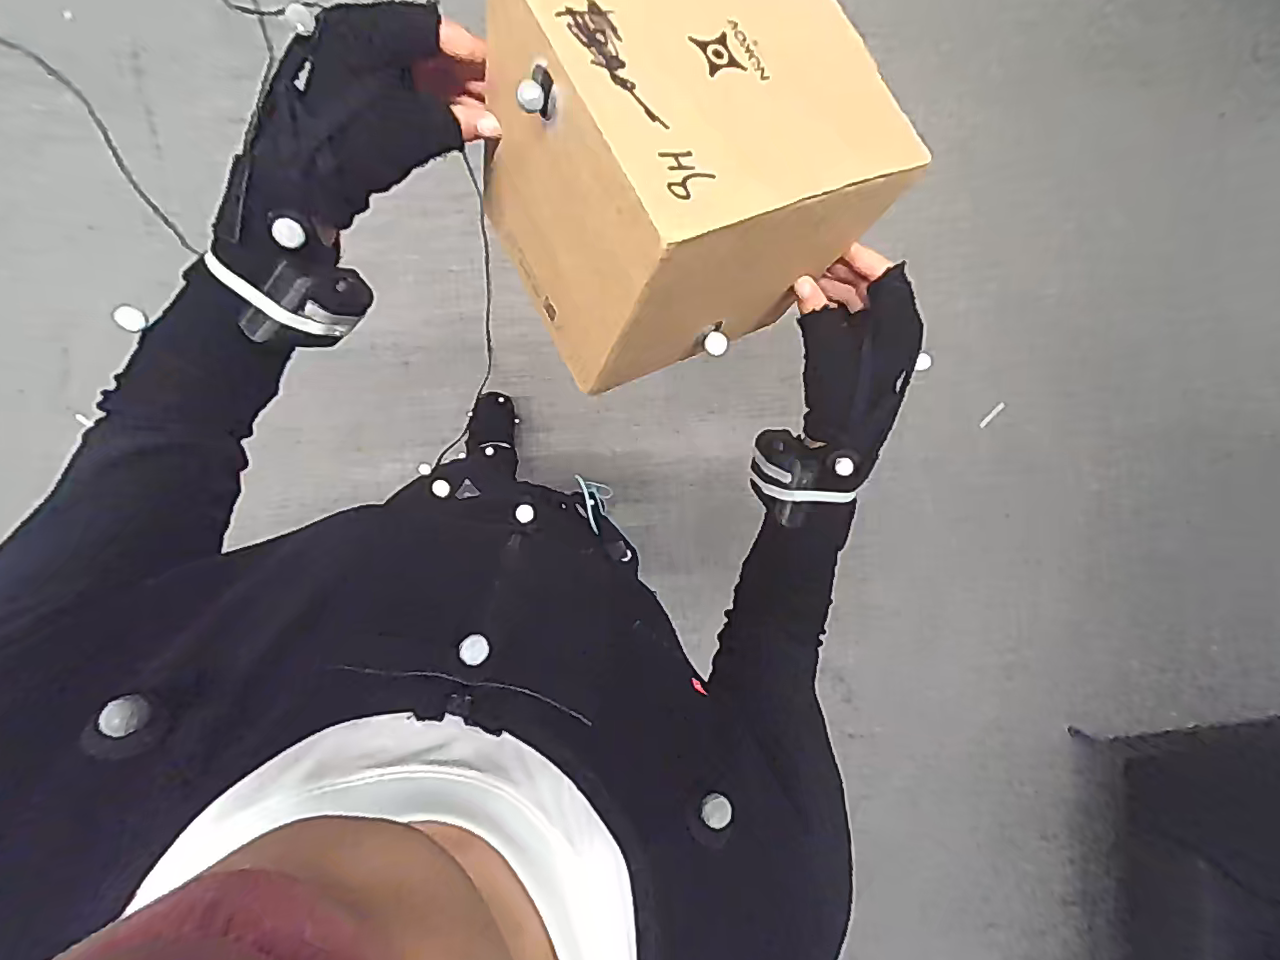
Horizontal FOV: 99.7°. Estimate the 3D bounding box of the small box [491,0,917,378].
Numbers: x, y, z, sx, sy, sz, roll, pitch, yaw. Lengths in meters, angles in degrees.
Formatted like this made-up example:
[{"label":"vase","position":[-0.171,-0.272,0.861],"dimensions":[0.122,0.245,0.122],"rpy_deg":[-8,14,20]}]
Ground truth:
[{"label":"small box","position":[0.020,-0.191,0.342],"dimensions":[0.179,0.176,0.168],"rpy_deg":[-27,85,-22]}]
